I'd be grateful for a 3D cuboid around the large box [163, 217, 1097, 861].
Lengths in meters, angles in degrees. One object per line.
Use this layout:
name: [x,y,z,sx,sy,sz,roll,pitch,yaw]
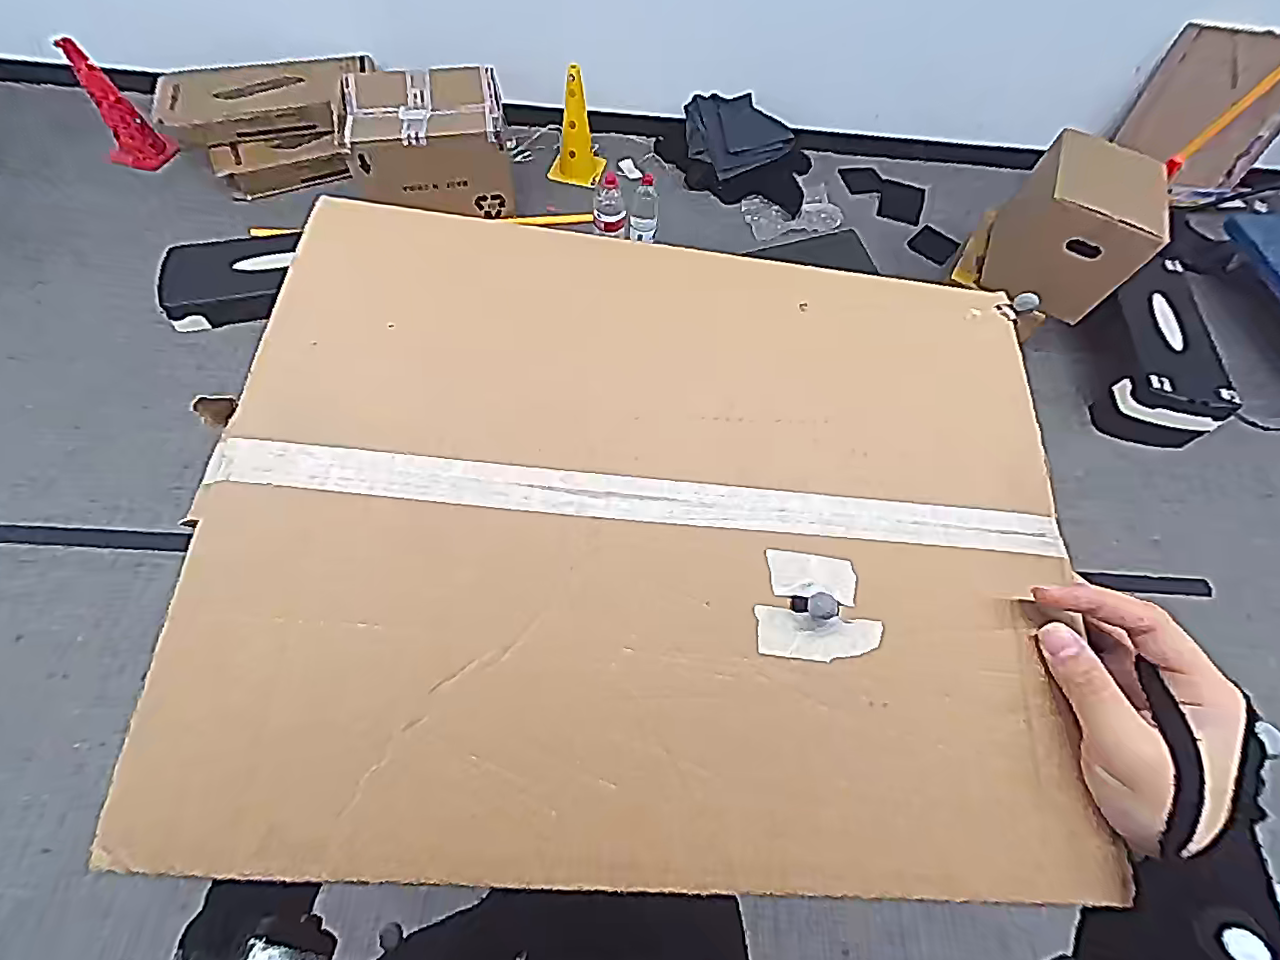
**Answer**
large box: [0.001,0.061,0.414,0.408,0.320,0.320,7,70,-6]
